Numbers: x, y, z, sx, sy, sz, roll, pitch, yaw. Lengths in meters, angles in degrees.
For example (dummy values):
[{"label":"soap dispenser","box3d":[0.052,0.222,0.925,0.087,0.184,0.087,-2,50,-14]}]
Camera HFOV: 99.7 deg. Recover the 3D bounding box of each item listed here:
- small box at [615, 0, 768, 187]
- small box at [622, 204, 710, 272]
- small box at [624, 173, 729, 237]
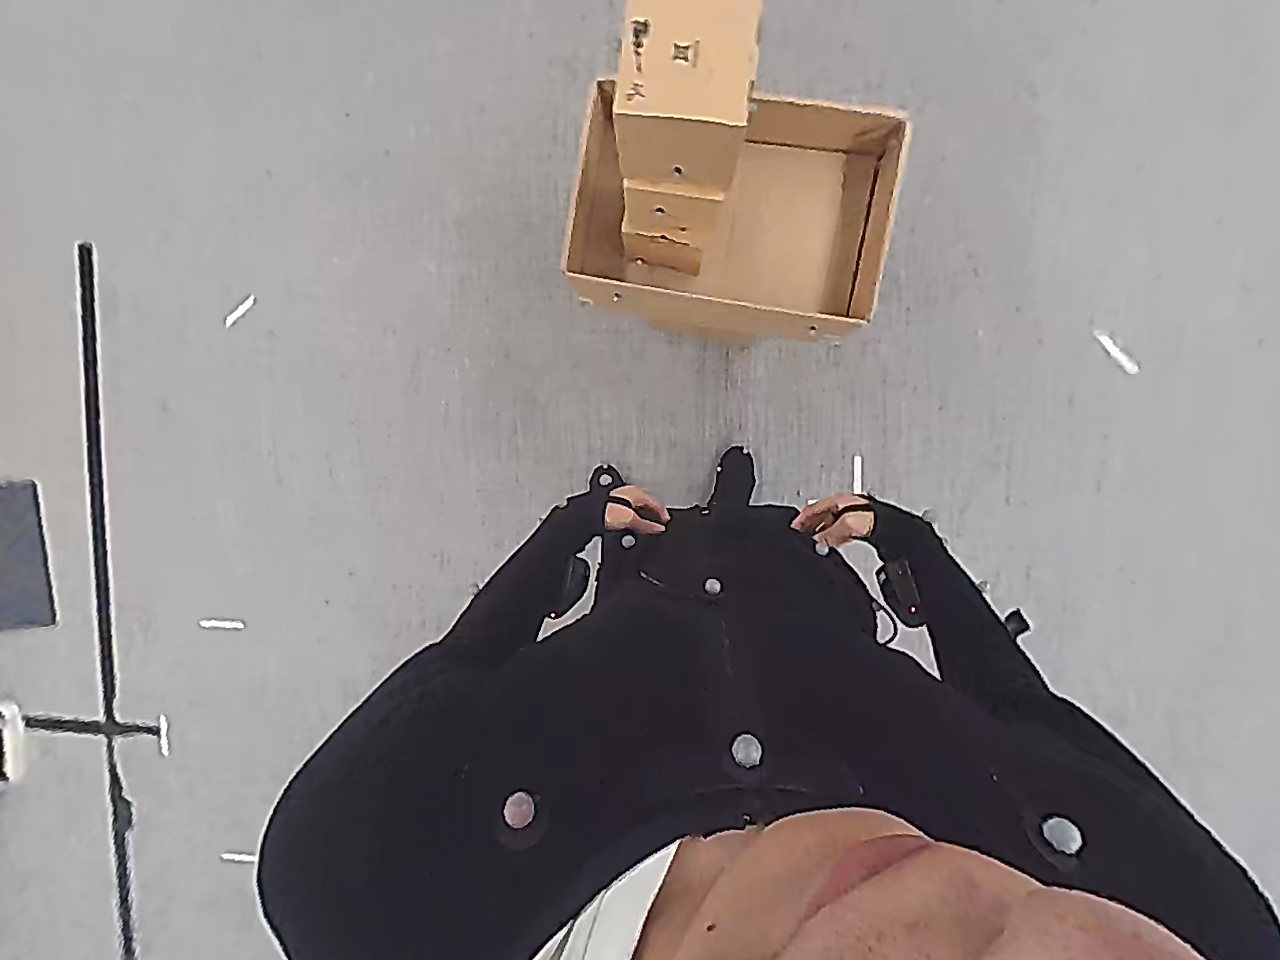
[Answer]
[{"label":"small box","box3d":[0.067,-0.546,0.771,0.179,0.176,0.168,9,92,2]},{"label":"small box","box3d":[0.069,-0.544,1.098,0.168,0.176,0.179,13,93,2]},{"label":"small box","box3d":[0.073,-0.544,0.935,0.168,0.176,0.179,10,93,2]}]
